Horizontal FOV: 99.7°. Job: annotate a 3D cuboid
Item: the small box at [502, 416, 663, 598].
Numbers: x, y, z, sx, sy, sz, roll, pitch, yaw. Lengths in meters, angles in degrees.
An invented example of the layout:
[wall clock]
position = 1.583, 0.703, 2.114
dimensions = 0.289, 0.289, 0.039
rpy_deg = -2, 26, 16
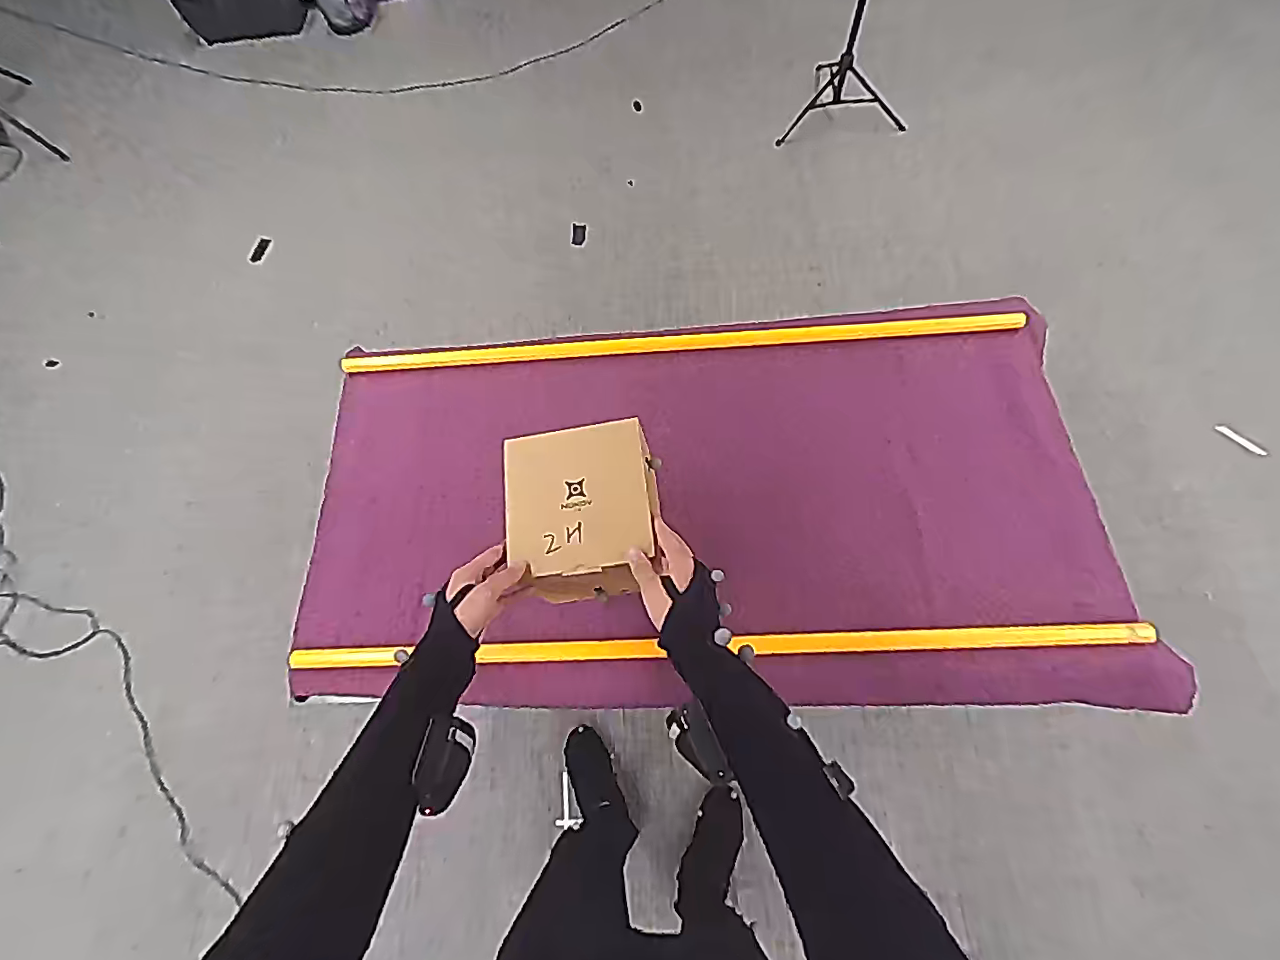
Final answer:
[small box]
position = -0.067, 0.043, 0.692
dimensions = 0.168, 0.176, 0.179
rpy_deg = -9, 69, 6
